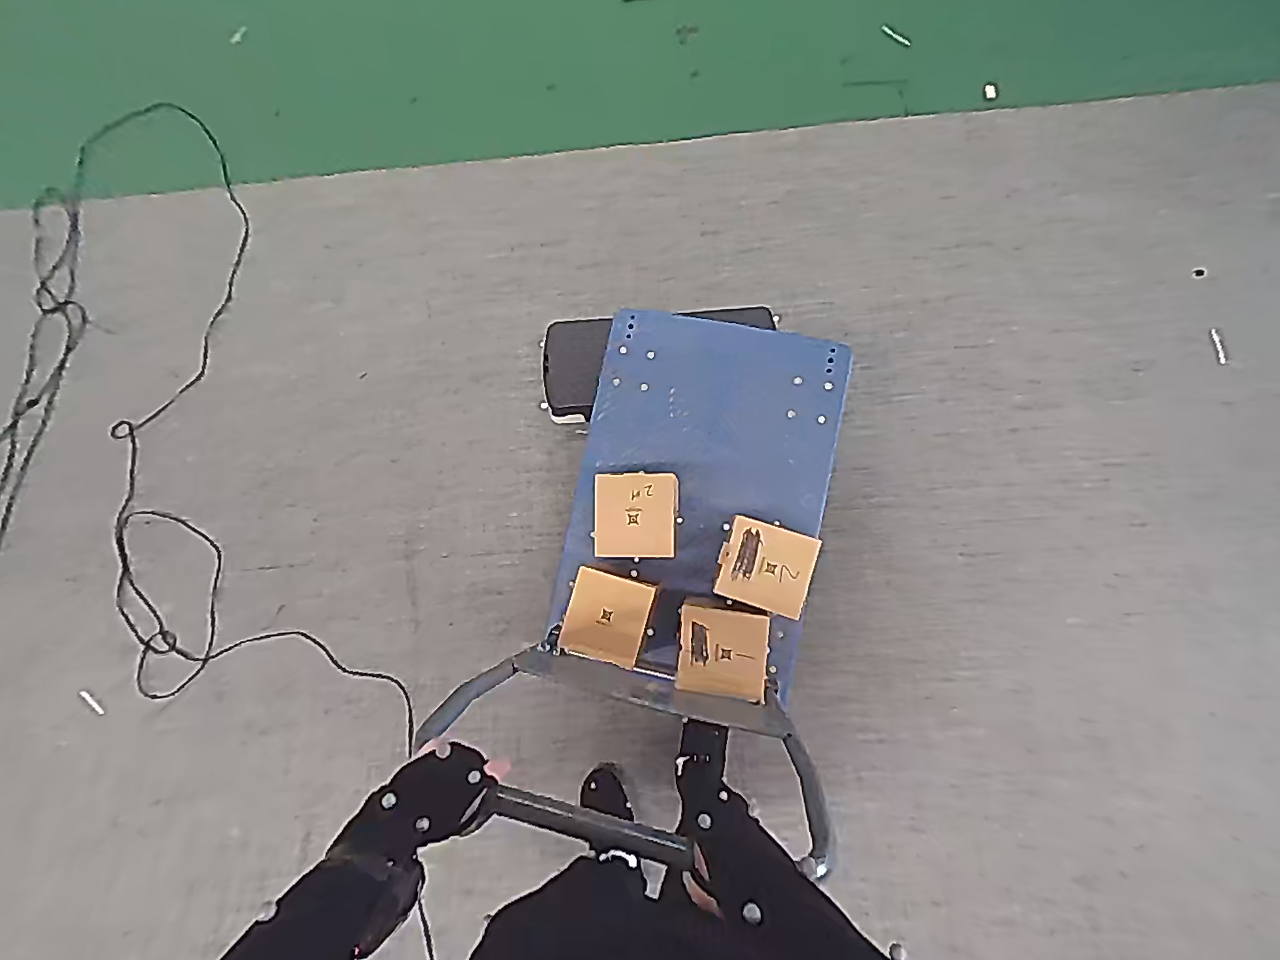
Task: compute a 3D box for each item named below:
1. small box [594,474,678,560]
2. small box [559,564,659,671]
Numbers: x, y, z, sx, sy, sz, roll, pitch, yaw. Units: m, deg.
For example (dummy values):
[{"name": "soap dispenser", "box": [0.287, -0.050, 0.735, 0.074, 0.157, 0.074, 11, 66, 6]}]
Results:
[{"name": "small box", "box": [-0.003, 0.080, 1.189, 0.168, 0.176, 0.179, 0, 85, 7]}, {"name": "small box", "box": [-0.059, 0.288, 1.181, 0.168, 0.176, 0.179, 16, 87, 8]}]
